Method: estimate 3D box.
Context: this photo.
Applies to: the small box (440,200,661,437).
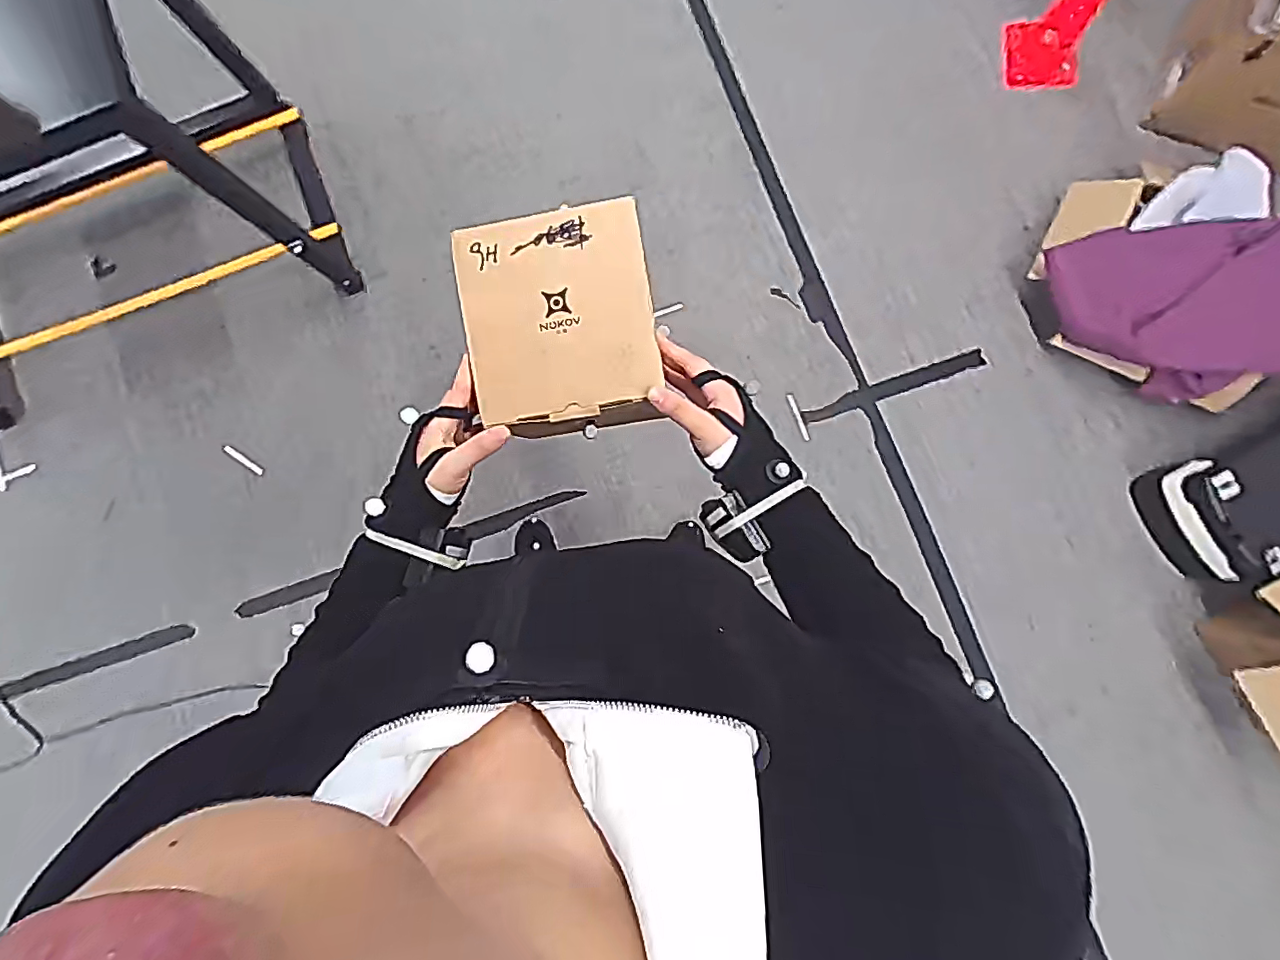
[{"bbox_3d":[-0.073,-0.141,0.539,0.168,0.176,0.179,-10,92,3],"label":"small box"}]
